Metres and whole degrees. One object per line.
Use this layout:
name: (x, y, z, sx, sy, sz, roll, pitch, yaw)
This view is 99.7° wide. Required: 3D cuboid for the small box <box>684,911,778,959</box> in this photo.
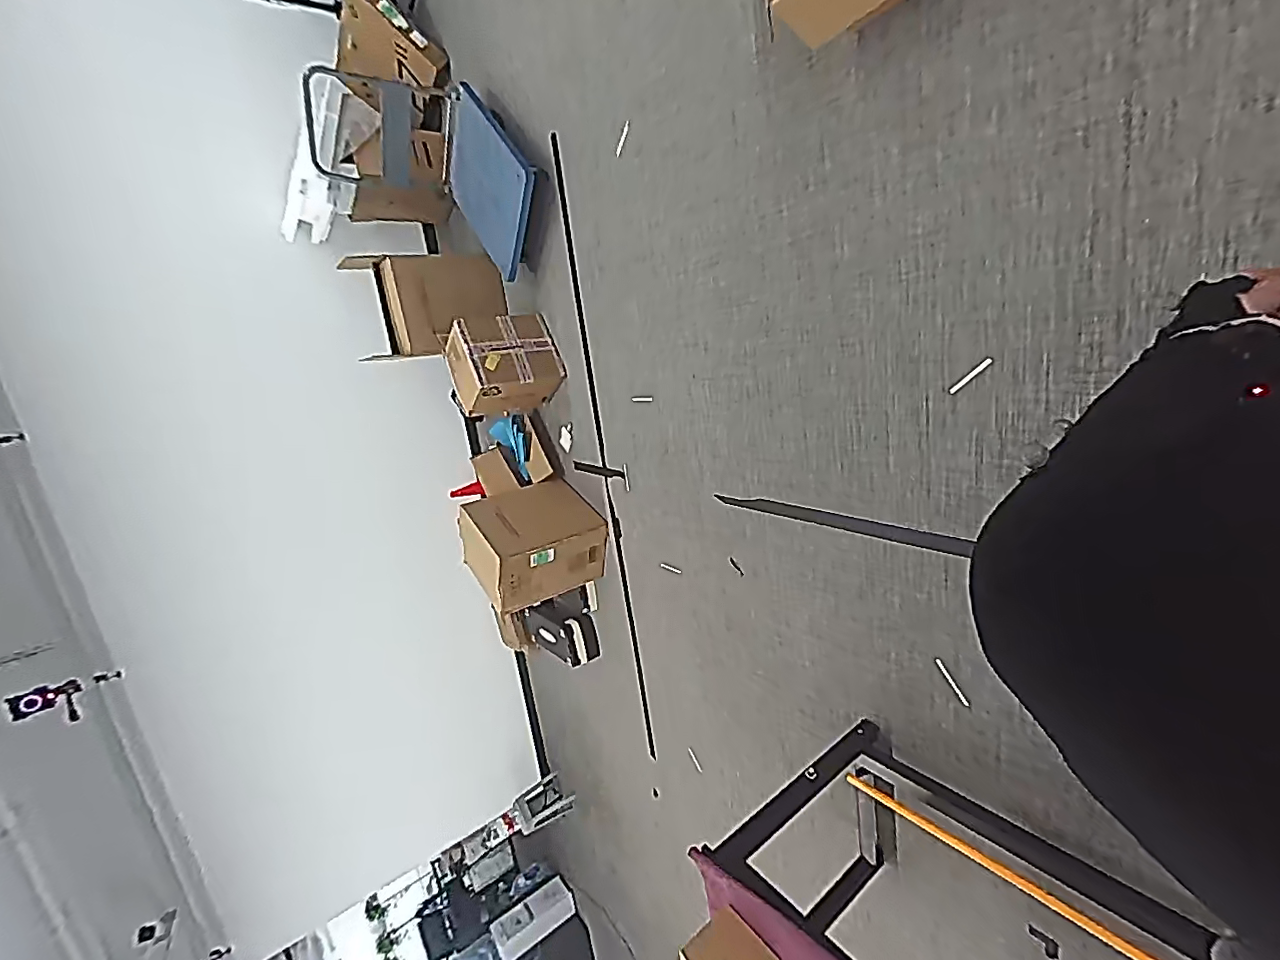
small box: (0.230, 1.193, 1.284, 0.179, 0.176, 0.168, 15, 118, 53)
